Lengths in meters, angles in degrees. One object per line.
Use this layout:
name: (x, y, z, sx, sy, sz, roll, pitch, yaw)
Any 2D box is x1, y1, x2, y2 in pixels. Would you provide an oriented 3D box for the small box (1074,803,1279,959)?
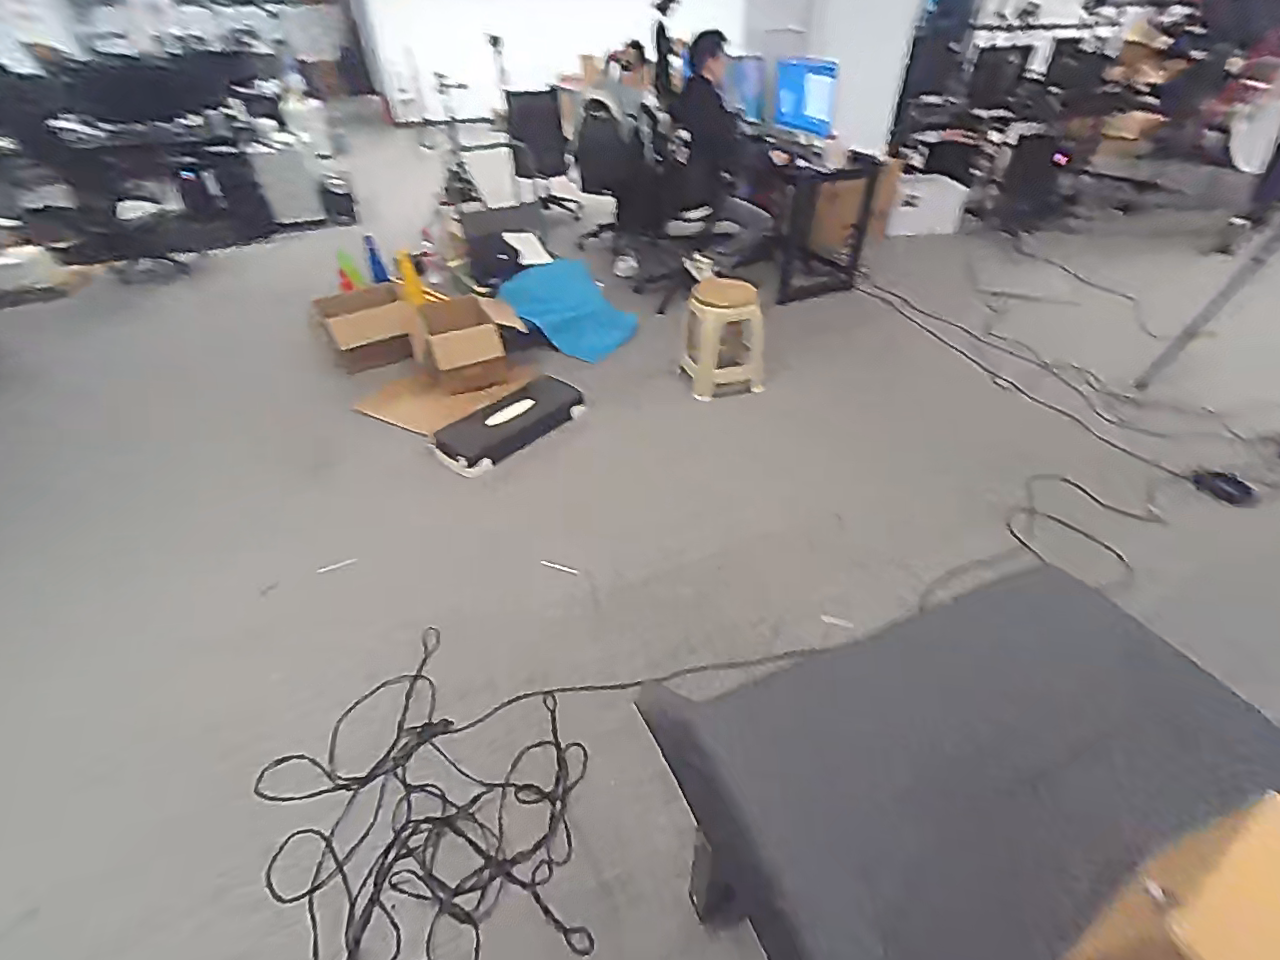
small box: (0.483, 0.392, 0.404, 0.179, 0.176, 0.168, -22, 45, -22)
